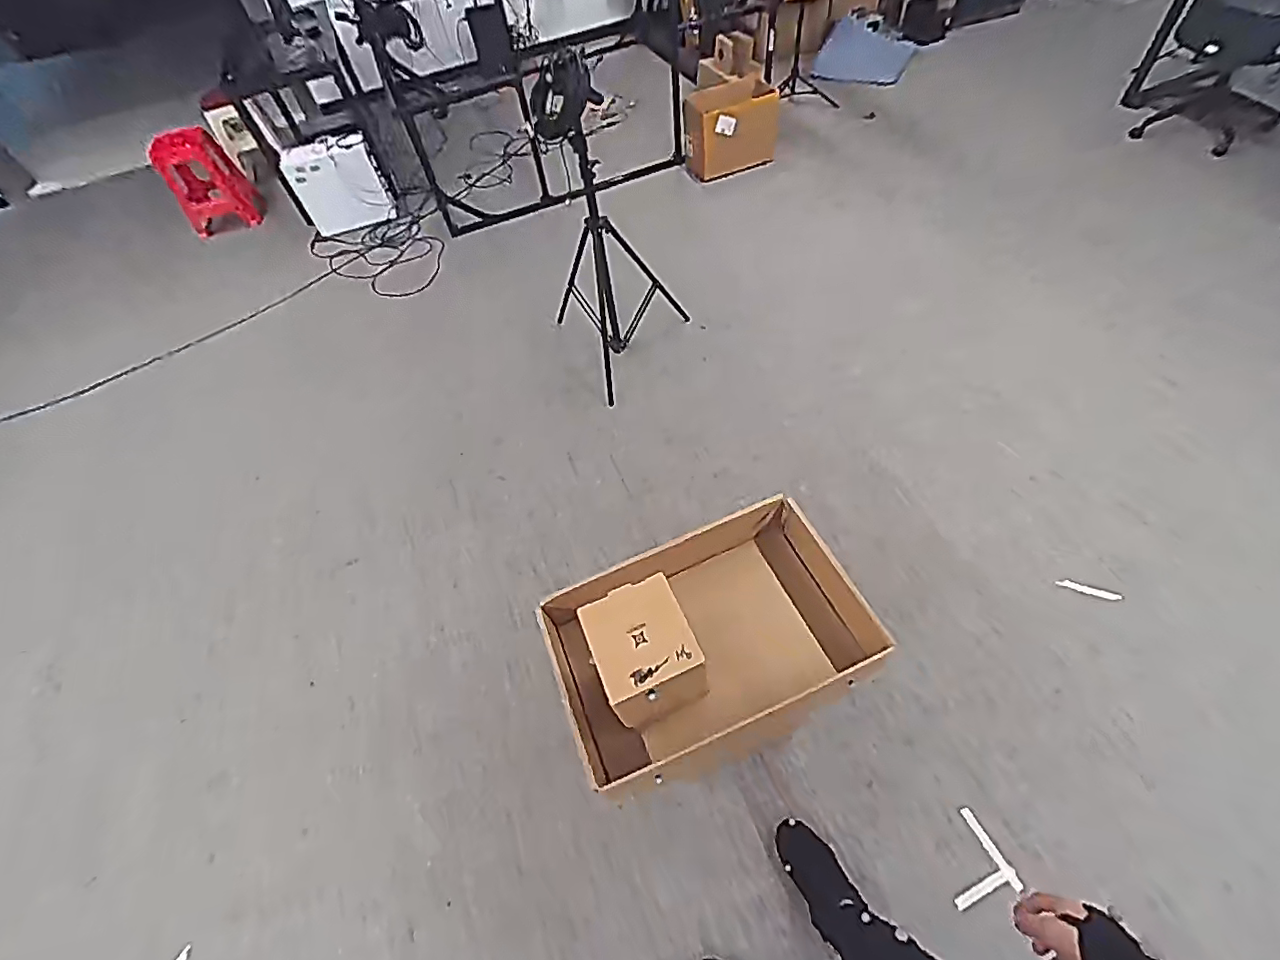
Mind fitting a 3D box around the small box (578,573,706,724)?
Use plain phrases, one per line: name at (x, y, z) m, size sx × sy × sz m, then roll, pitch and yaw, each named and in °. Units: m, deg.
small box at (0.007, 0.300, 0.954) m, size 0.168 × 0.176 × 0.179 m, roll -23°, pitch 54°, yaw -7°
